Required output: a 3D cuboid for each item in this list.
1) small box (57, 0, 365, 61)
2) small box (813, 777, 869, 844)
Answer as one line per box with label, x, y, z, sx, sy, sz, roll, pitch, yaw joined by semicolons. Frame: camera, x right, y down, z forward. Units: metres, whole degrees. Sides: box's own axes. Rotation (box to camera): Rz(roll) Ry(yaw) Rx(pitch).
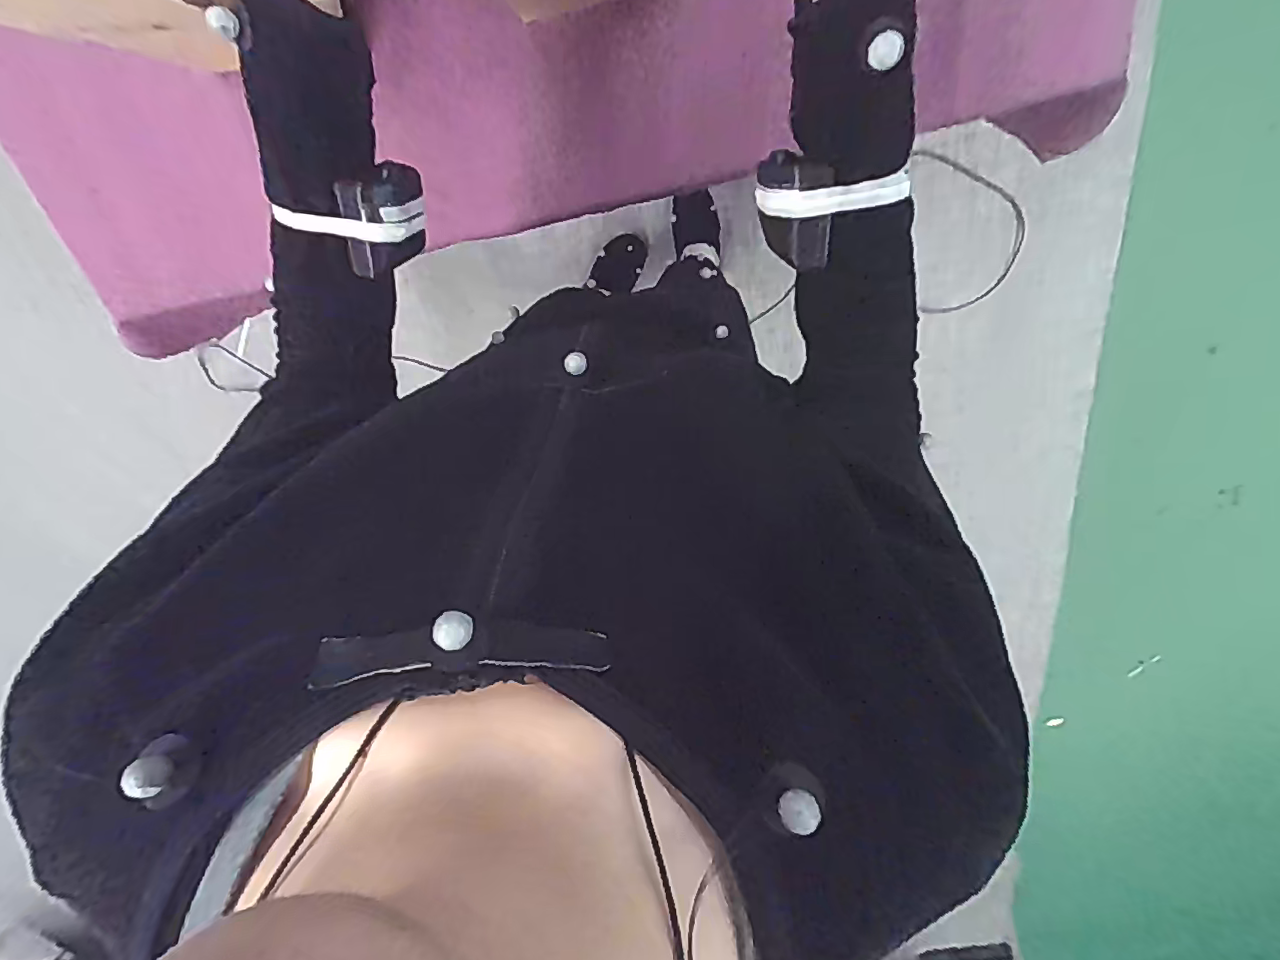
small box;-0.376;-0.482;0.467;0.179;0.176;0.168;-1;117;1
small box;0.826;1.364;2.237;0.179;0.176;0.168;-15;117;8
